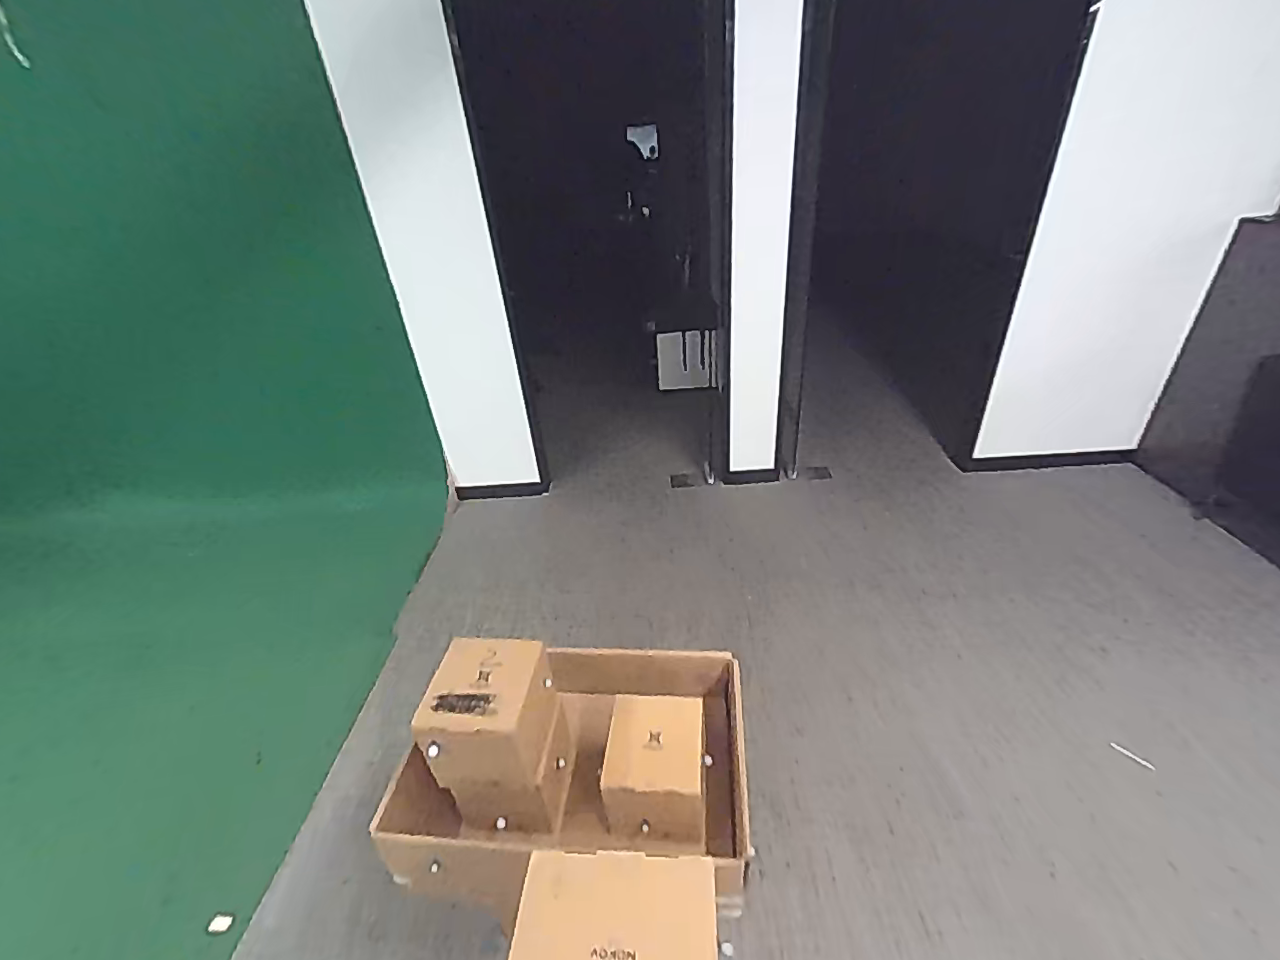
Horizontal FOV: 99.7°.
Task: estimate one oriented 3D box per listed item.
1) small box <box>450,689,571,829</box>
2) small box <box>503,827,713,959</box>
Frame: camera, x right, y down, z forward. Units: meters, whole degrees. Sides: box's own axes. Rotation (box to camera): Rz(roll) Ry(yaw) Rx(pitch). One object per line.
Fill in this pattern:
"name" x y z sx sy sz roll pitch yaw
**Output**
"small box" -0.231 0.522 1.020 0.168 0.176 0.179 -2 33 6
"small box" -0.020 0.437 0.467 0.168 0.176 0.179 -2 34 6
